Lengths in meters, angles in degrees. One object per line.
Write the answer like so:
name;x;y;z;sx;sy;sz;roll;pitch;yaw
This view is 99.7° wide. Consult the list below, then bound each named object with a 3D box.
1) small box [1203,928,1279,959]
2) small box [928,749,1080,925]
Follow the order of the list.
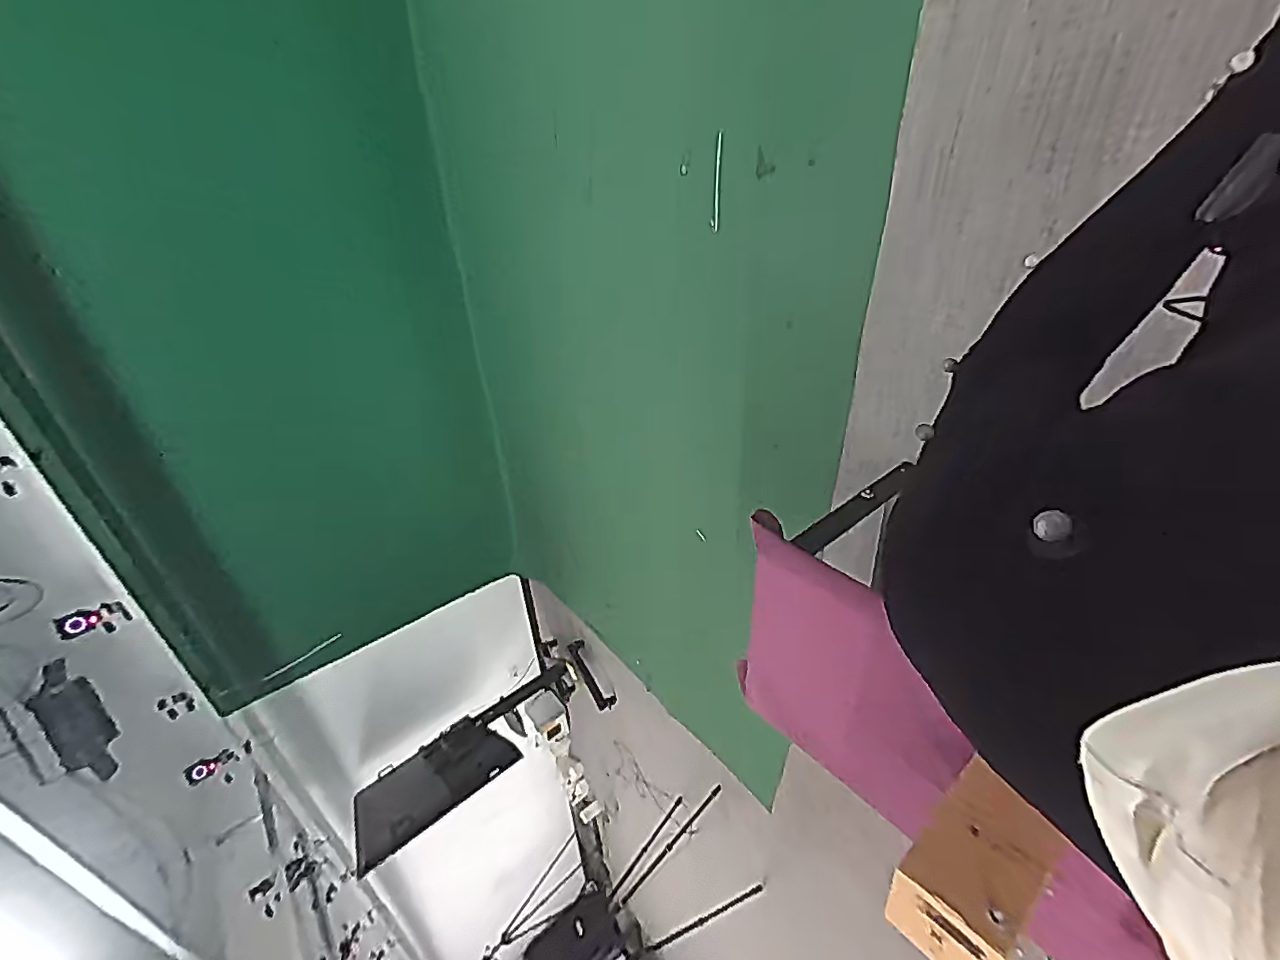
small box;0.899;0.802;0.761;0.168;0.176;0.179;26;131;46
small box;0.667;0.646;0.994;0.168;0.176;0.179;28;133;43
